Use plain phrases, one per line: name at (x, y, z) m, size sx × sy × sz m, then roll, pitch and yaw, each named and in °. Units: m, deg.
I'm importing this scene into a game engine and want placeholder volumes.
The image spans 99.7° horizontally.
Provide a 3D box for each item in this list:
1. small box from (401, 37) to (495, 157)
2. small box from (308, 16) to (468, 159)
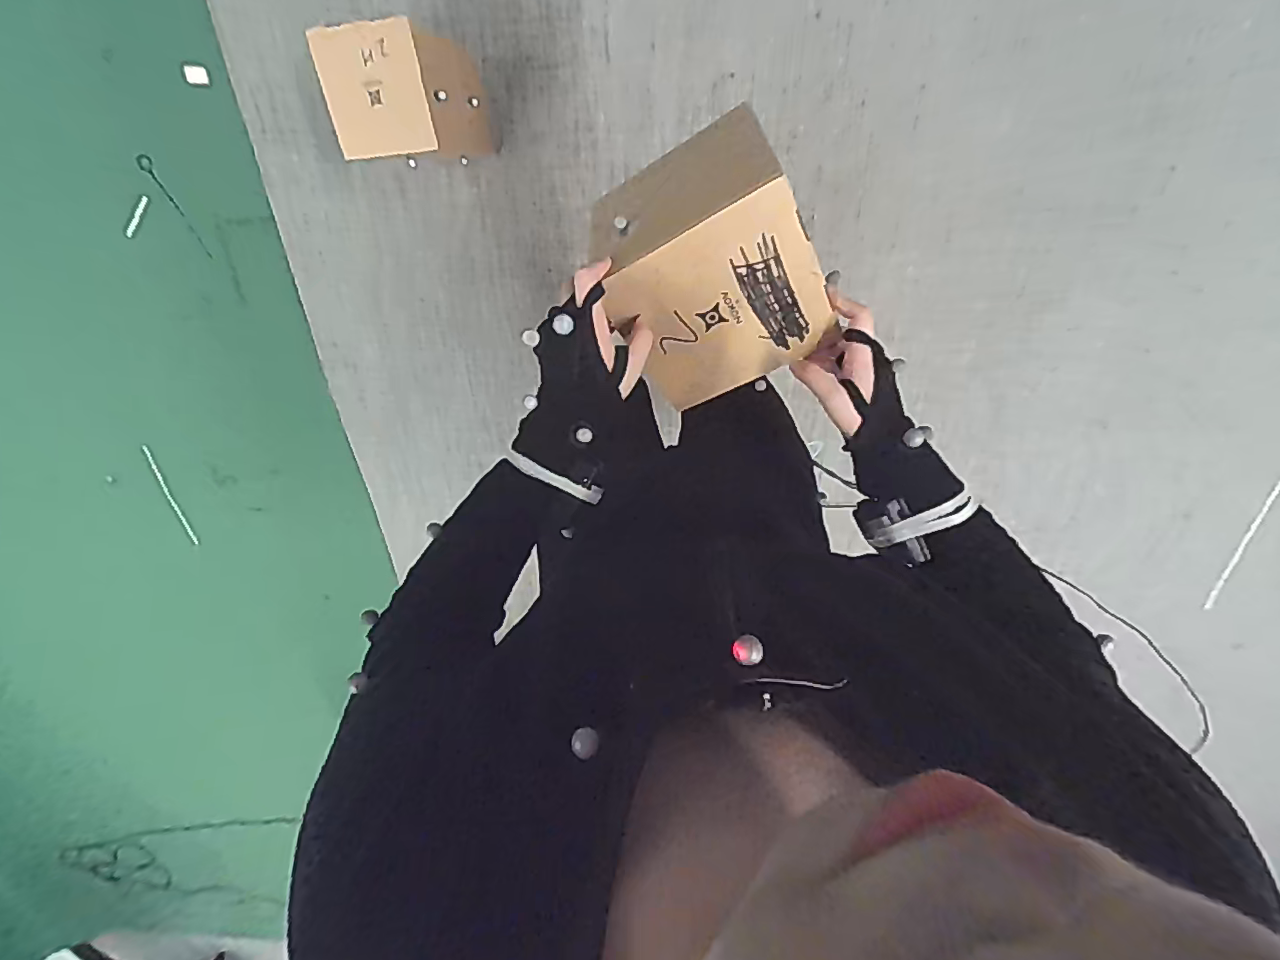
small box at (-0.399, -0.744, 1.066) m, size 0.168 × 0.176 × 0.179 m, roll -1°, pitch 120°, yaw 5°
small box at (-0.414, -0.659, 0.926) m, size 0.168 × 0.176 × 0.179 m, roll -2°, pitch 120°, yaw 5°
